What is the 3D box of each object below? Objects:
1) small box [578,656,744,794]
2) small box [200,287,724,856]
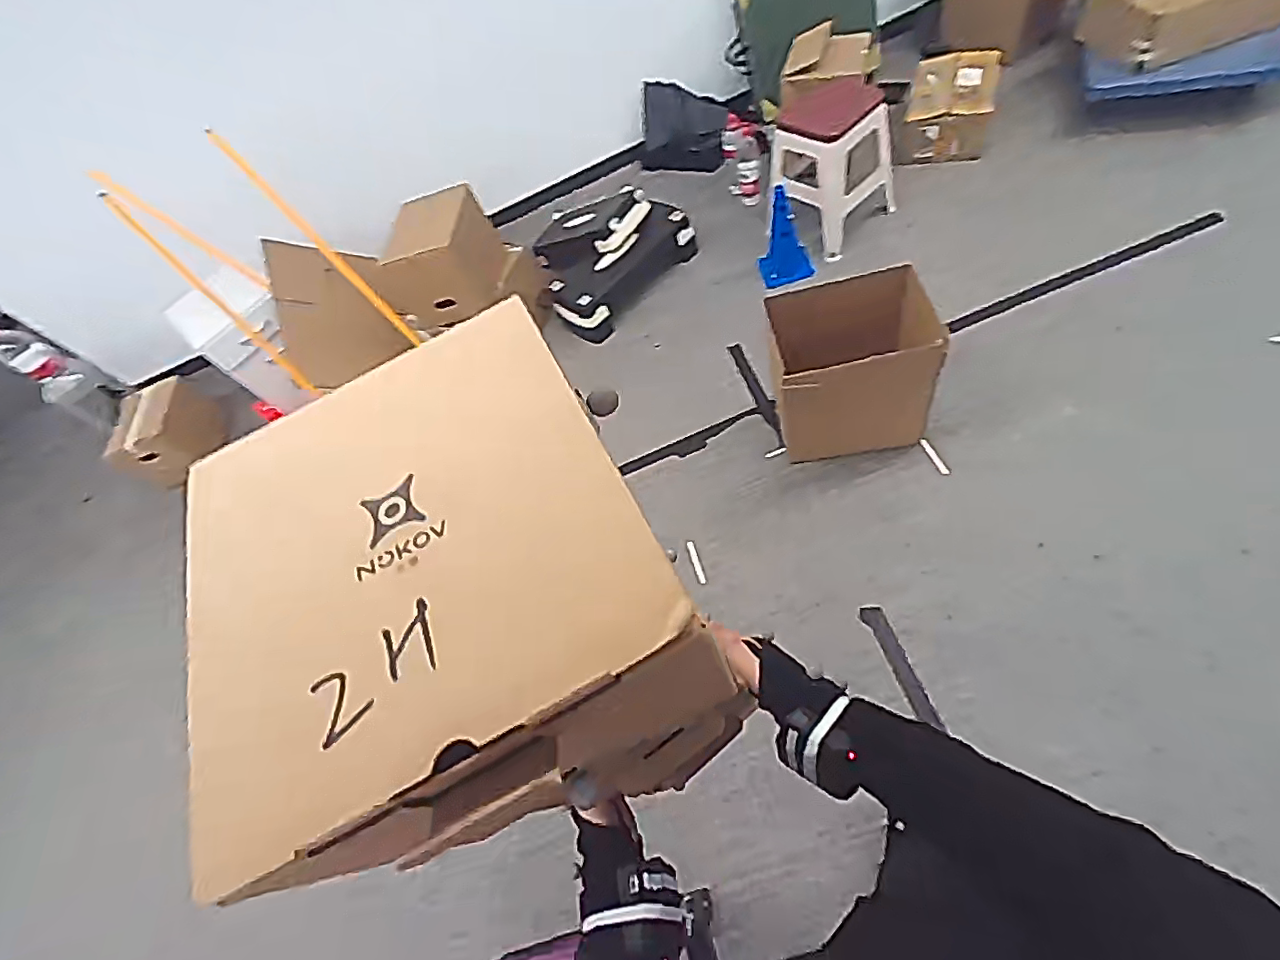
[{"bbox_3d":[-0.007,0.190,0.561,0.168,0.176,0.179,-35,60,-5],"label":"small box"},{"bbox_3d":[-0.072,0.048,0.273,0.168,0.176,0.179,-29,60,-2],"label":"small box"}]
